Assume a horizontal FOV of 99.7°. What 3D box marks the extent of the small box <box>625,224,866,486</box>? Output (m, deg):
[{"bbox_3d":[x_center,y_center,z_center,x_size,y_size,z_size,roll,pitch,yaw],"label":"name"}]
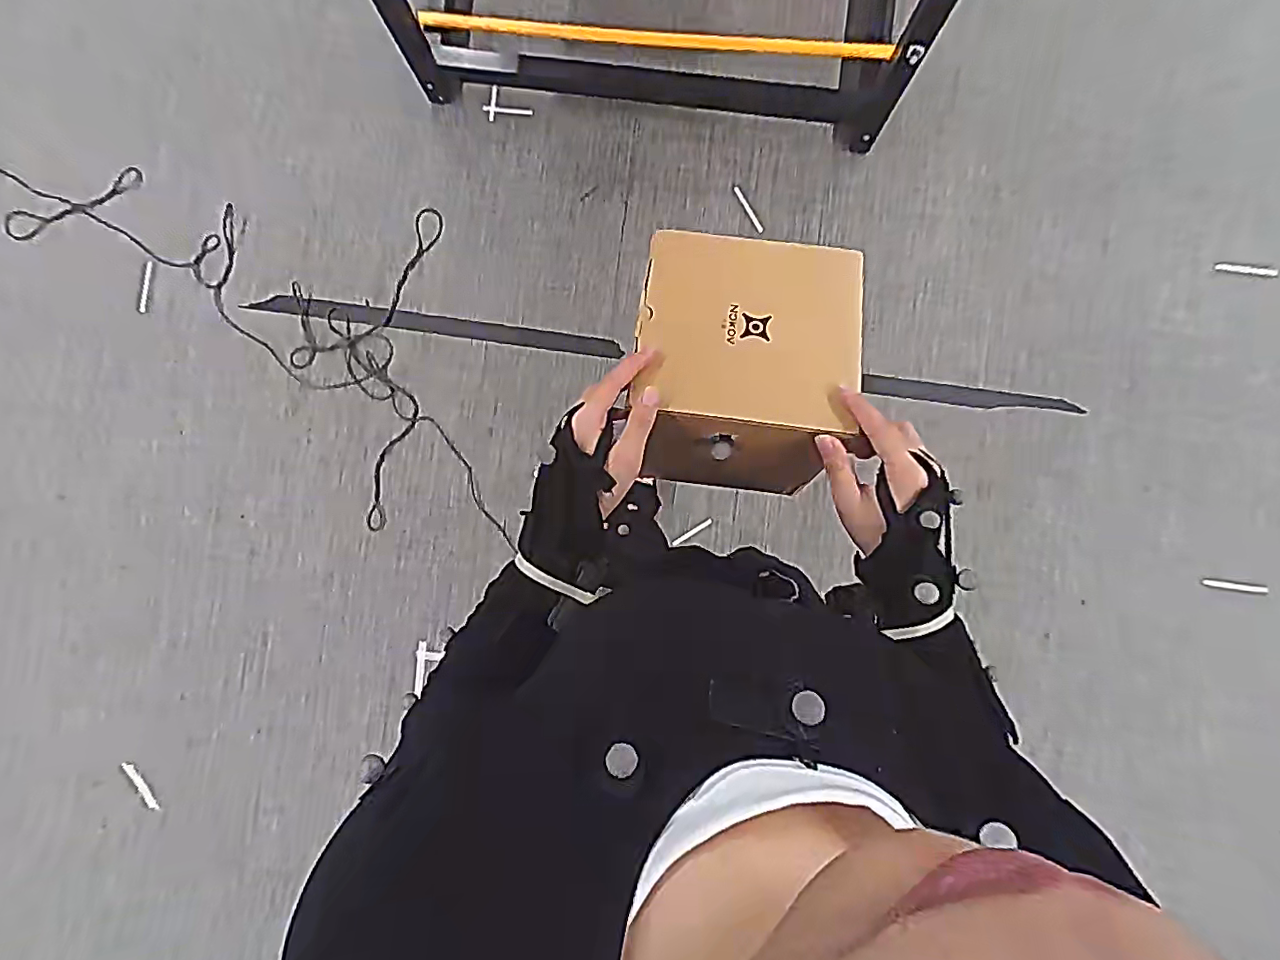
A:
[{"bbox_3d":[0.086,-0.099,0.495,0.179,0.176,0.168,7,73,3],"label":"small box"}]
